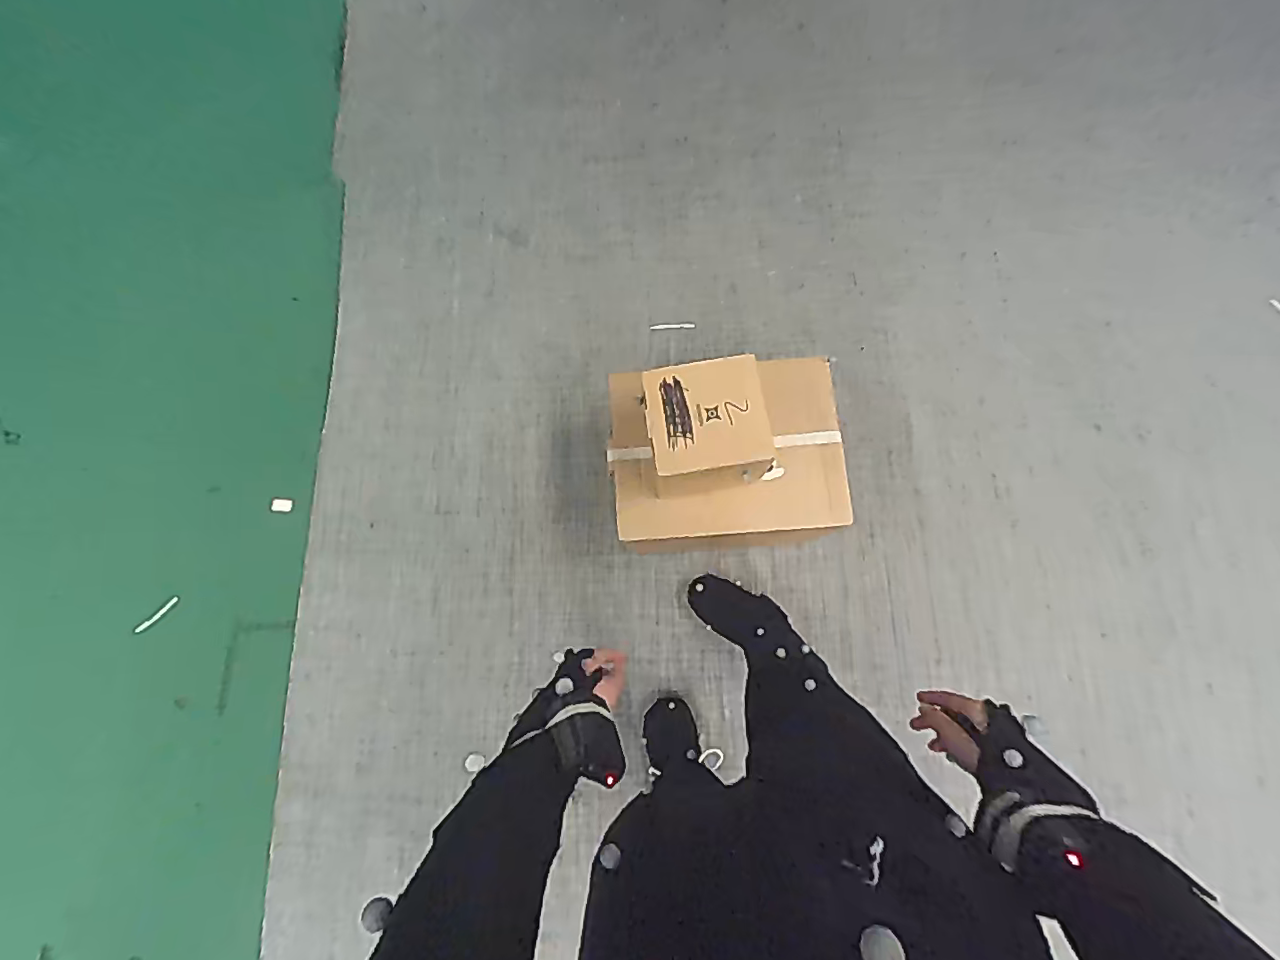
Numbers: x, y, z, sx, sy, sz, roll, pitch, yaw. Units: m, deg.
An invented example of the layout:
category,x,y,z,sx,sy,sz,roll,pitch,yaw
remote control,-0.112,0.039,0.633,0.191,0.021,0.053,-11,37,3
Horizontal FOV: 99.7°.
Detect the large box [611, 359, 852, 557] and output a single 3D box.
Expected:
category,x,y,z,sx,sy,sz,roll,pitch,yaw
large box,0.161,-0.024,1.106,0.408,0.320,0.320,-4,78,2
